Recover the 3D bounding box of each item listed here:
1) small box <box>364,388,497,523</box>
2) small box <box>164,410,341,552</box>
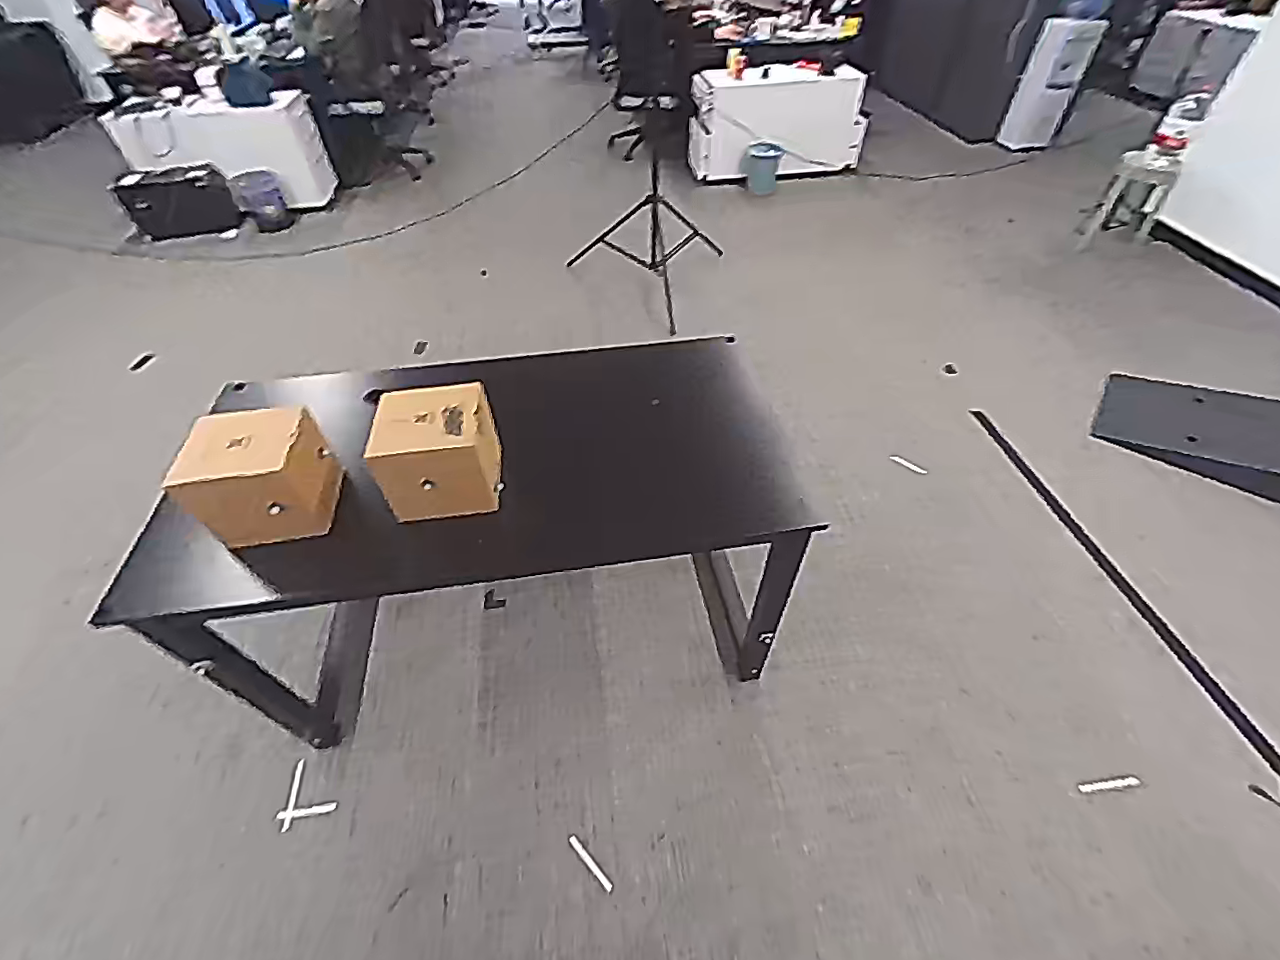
[{"bbox_3d":[-0.360,-0.042,0.972,0.179,0.176,0.168,-7,48,-4],"label":"small box"},{"bbox_3d":[-0.650,0.003,0.940,0.179,0.176,0.168,-10,47,-7],"label":"small box"}]
